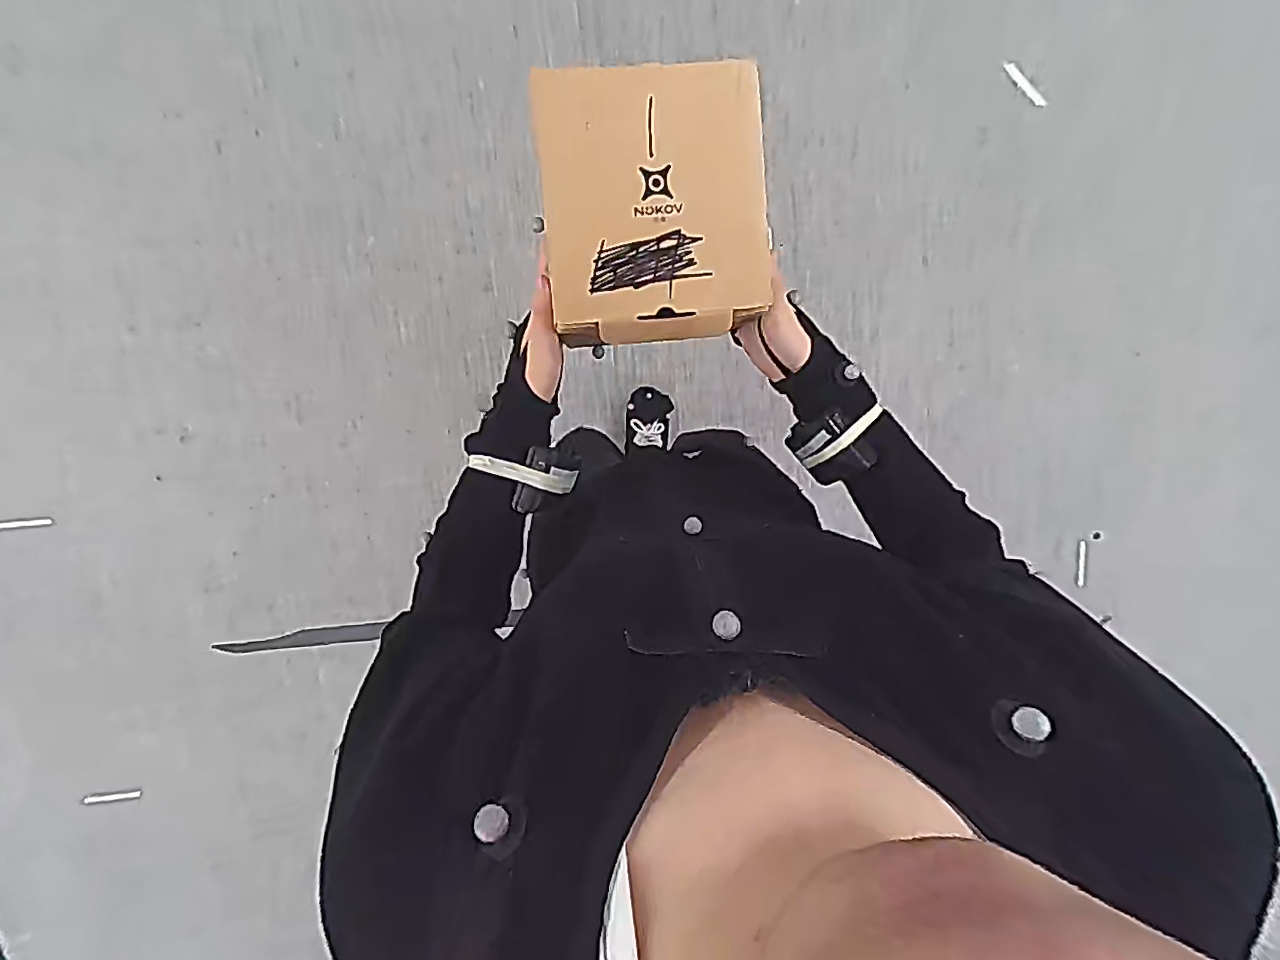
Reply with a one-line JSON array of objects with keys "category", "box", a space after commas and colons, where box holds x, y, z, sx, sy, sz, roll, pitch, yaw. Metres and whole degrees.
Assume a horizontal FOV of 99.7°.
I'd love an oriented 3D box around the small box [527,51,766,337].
[{"category": "small box", "box": [0.003, -0.223, 0.471, 0.168, 0.176, 0.179, -6, 98, -4]}]
